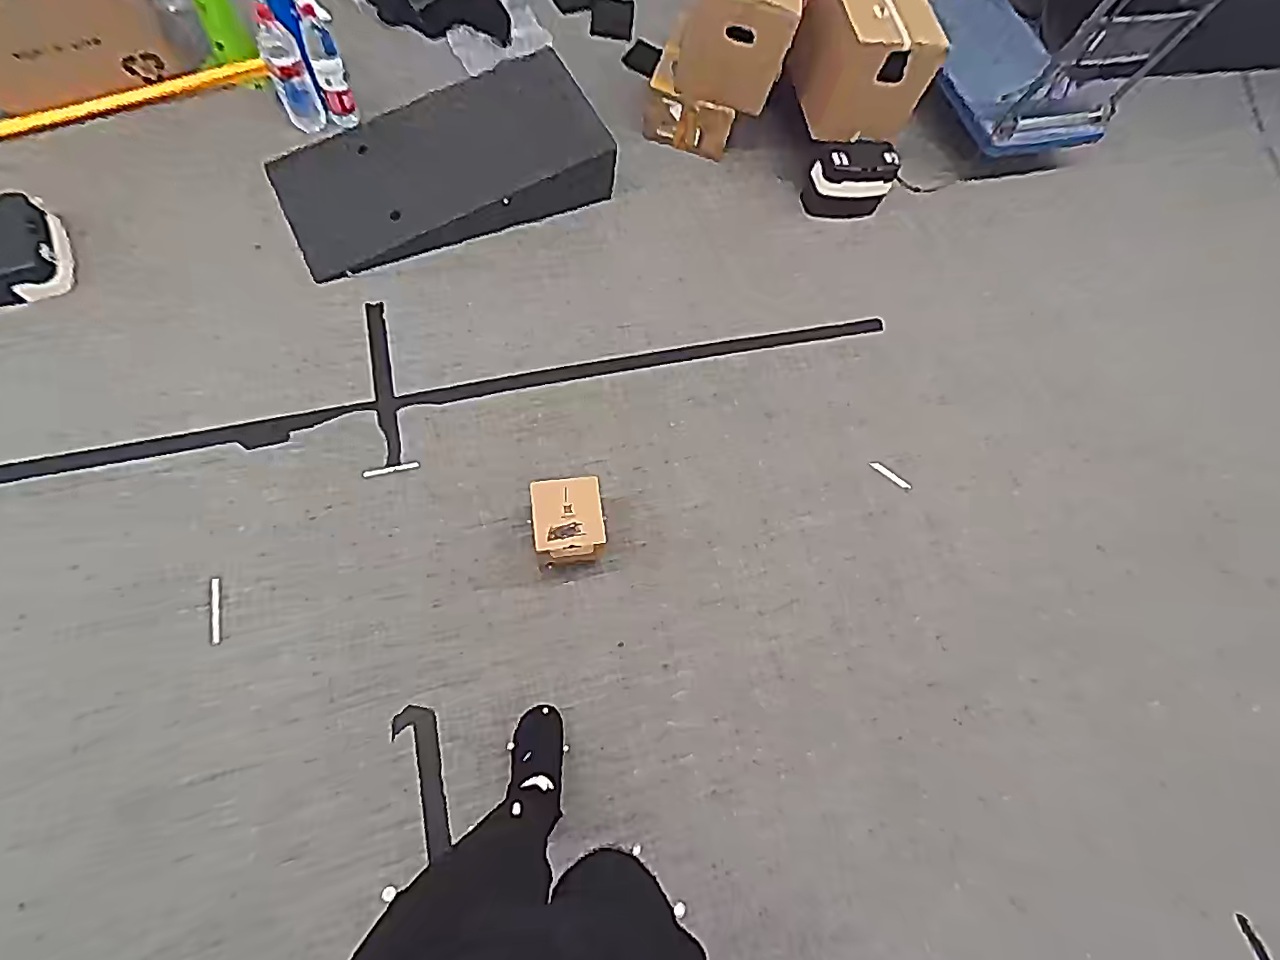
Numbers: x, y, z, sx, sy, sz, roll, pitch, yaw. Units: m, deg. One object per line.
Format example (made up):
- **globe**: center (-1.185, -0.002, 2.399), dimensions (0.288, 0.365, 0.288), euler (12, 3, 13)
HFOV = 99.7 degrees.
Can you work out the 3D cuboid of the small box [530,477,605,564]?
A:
- **small box**: center (-0.182, 0.108, 1.351), dimensions (0.168, 0.176, 0.179), euler (-5, 70, -12)
